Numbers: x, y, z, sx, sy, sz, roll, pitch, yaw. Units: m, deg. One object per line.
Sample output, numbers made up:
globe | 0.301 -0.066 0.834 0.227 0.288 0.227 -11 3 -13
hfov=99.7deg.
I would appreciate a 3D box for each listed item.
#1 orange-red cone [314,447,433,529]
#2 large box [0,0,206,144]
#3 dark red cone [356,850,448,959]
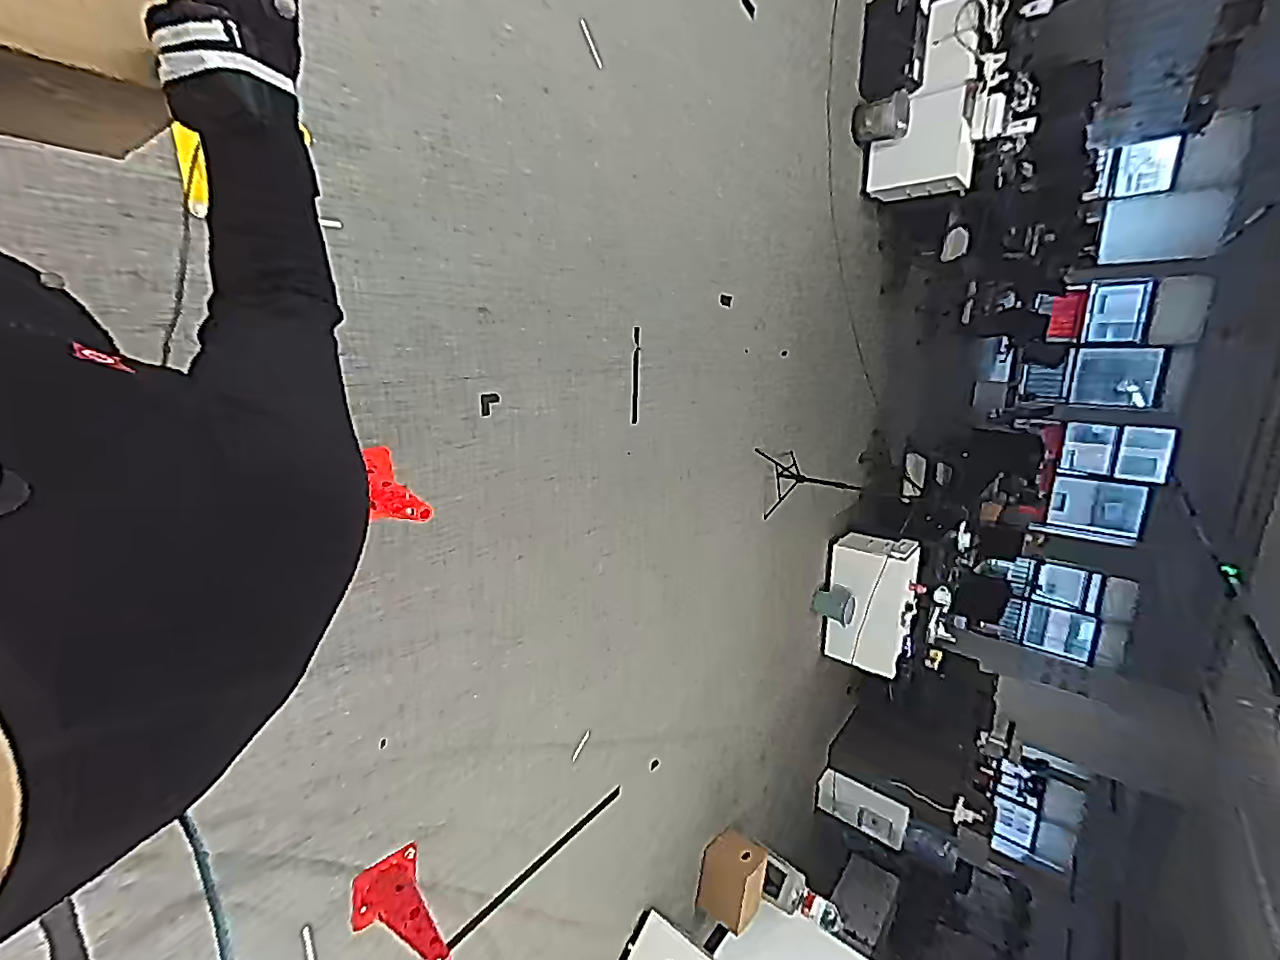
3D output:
orange-red cone | -0.631 0.043 1.351 0.198 0.360 0.199 -20 113 -48
large box | -0.544 -0.425 0.286 0.408 0.320 0.320 -15 116 -50
dark red cone | -0.665 1.320 1.594 0.201 0.394 0.202 -7 104 -49
